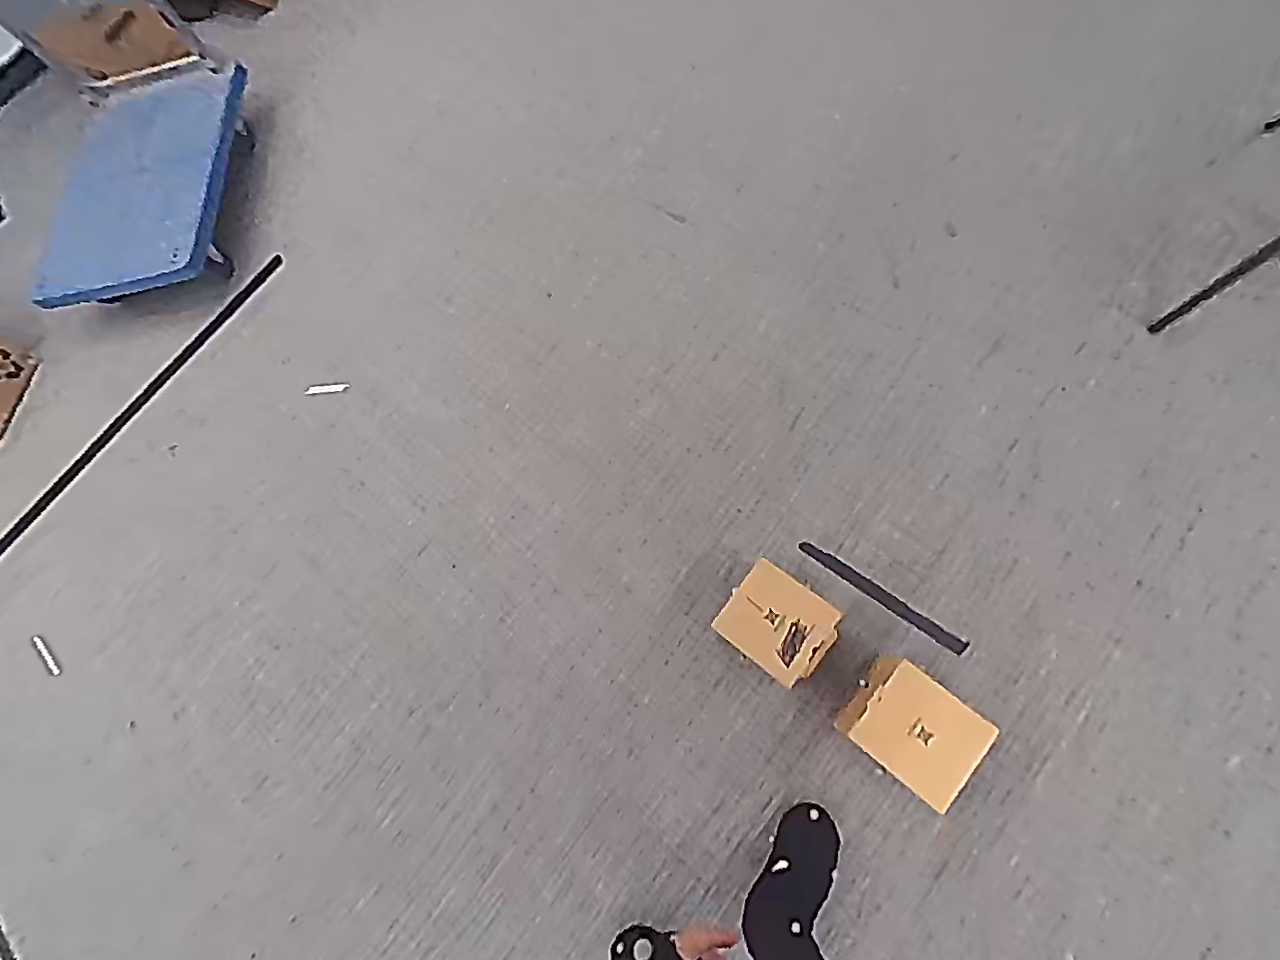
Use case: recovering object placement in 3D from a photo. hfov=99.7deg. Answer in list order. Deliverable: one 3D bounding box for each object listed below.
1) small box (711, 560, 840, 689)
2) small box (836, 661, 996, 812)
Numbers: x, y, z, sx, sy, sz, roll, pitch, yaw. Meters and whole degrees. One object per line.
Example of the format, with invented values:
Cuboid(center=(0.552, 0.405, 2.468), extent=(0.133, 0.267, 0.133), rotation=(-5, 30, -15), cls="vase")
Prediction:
Cuboid(center=(0.263, 0.282, 1.062), extent=(0.179, 0.176, 0.168), rotation=(36, 83, 21), cls="small box")
Cuboid(center=(0.479, 0.441, 0.968), extent=(0.179, 0.176, 0.168), rotation=(37, 84, 20), cls="small box")
